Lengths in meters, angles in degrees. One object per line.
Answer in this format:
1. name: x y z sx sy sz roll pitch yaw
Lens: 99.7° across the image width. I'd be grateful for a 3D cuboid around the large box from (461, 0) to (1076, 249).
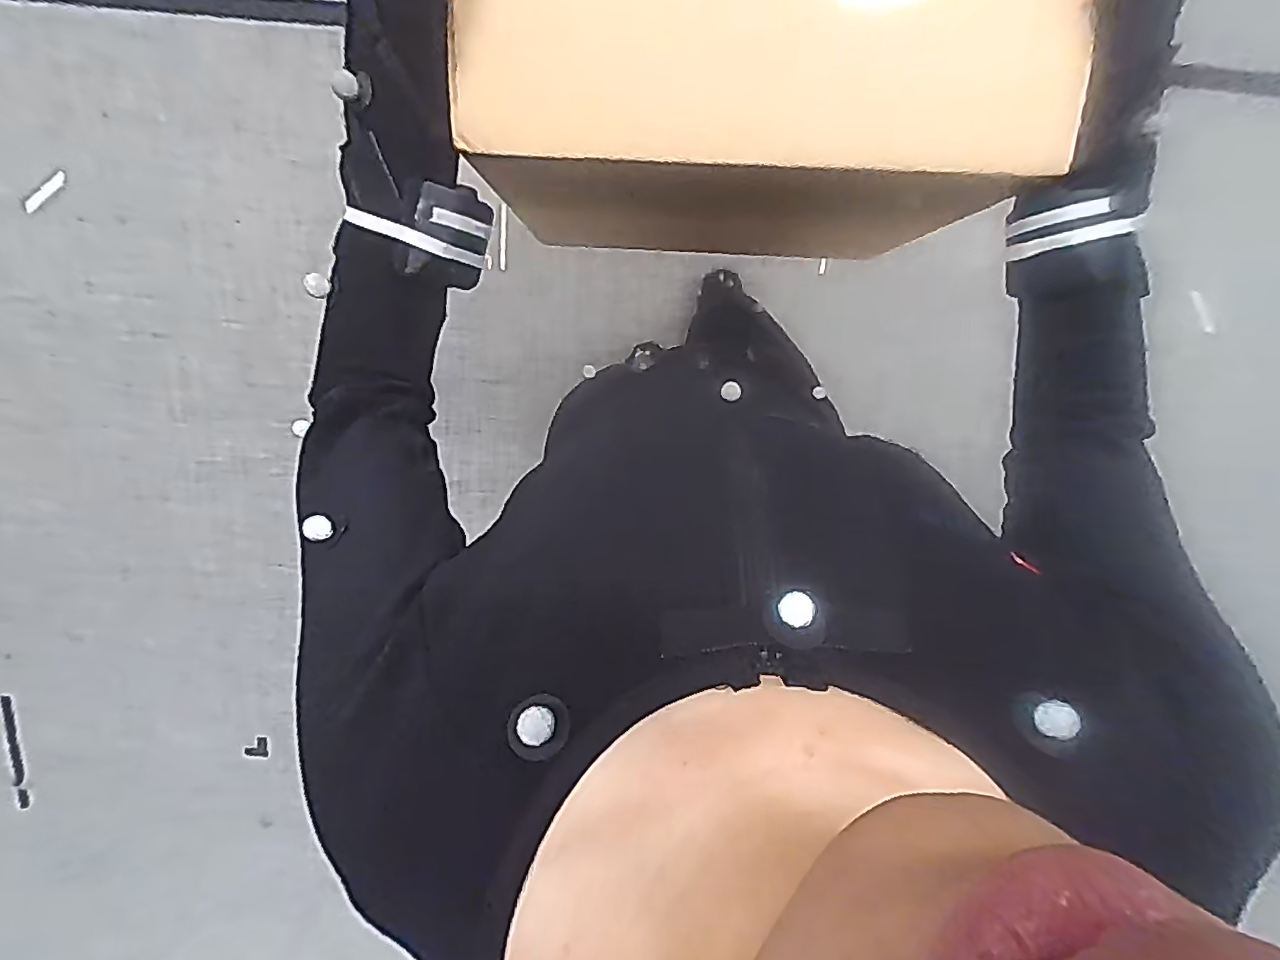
1. large box: 0.081 -0.402 0.479 0.408 0.320 0.320 2 102 -1
